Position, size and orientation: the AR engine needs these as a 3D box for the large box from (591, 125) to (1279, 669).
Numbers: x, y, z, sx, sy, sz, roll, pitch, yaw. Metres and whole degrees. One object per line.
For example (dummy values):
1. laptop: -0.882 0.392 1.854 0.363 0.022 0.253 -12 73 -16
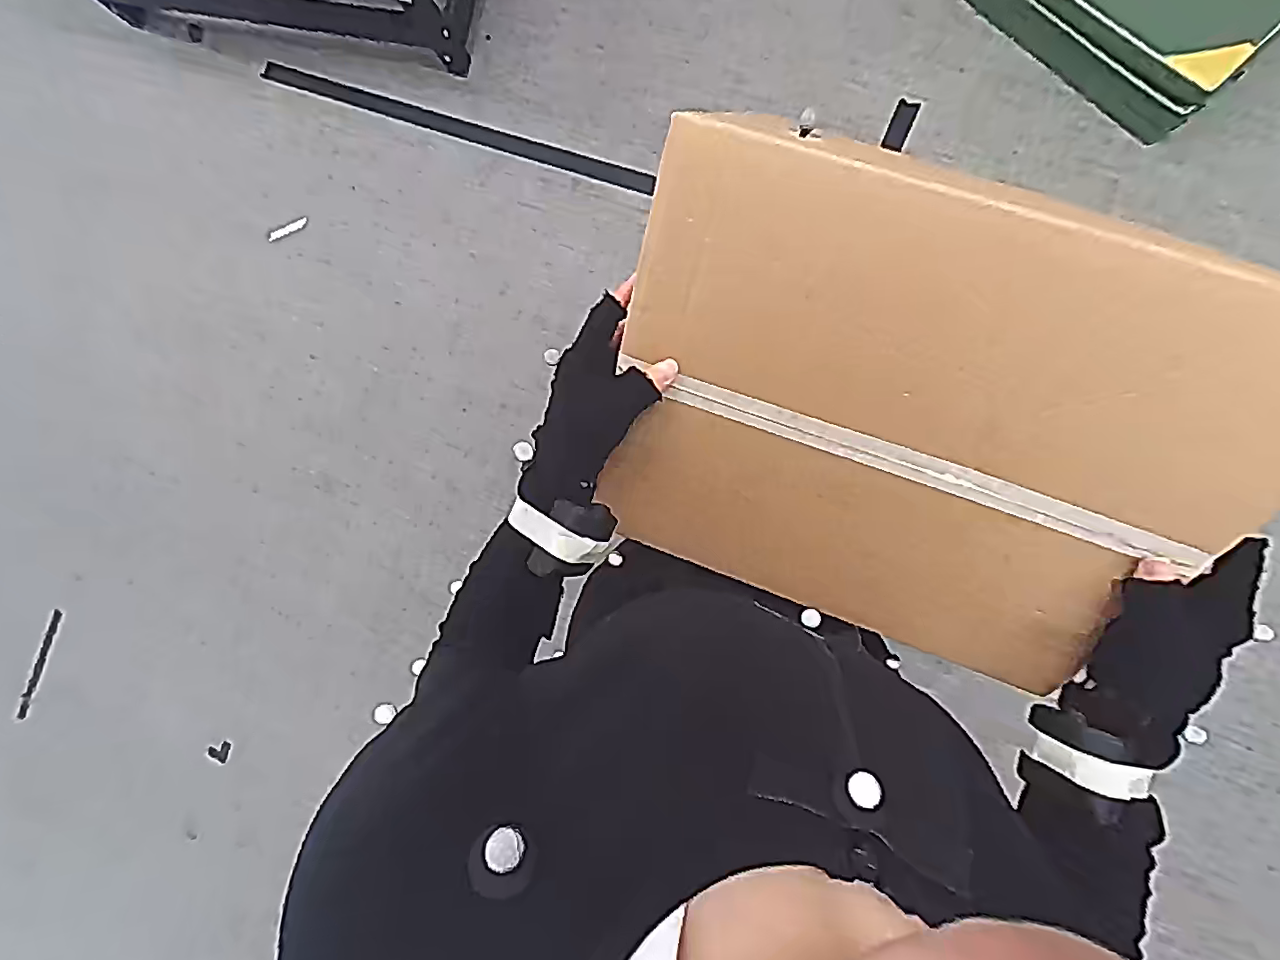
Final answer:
1. large box: 0.210 -0.104 0.500 0.408 0.320 0.320 20 128 6
